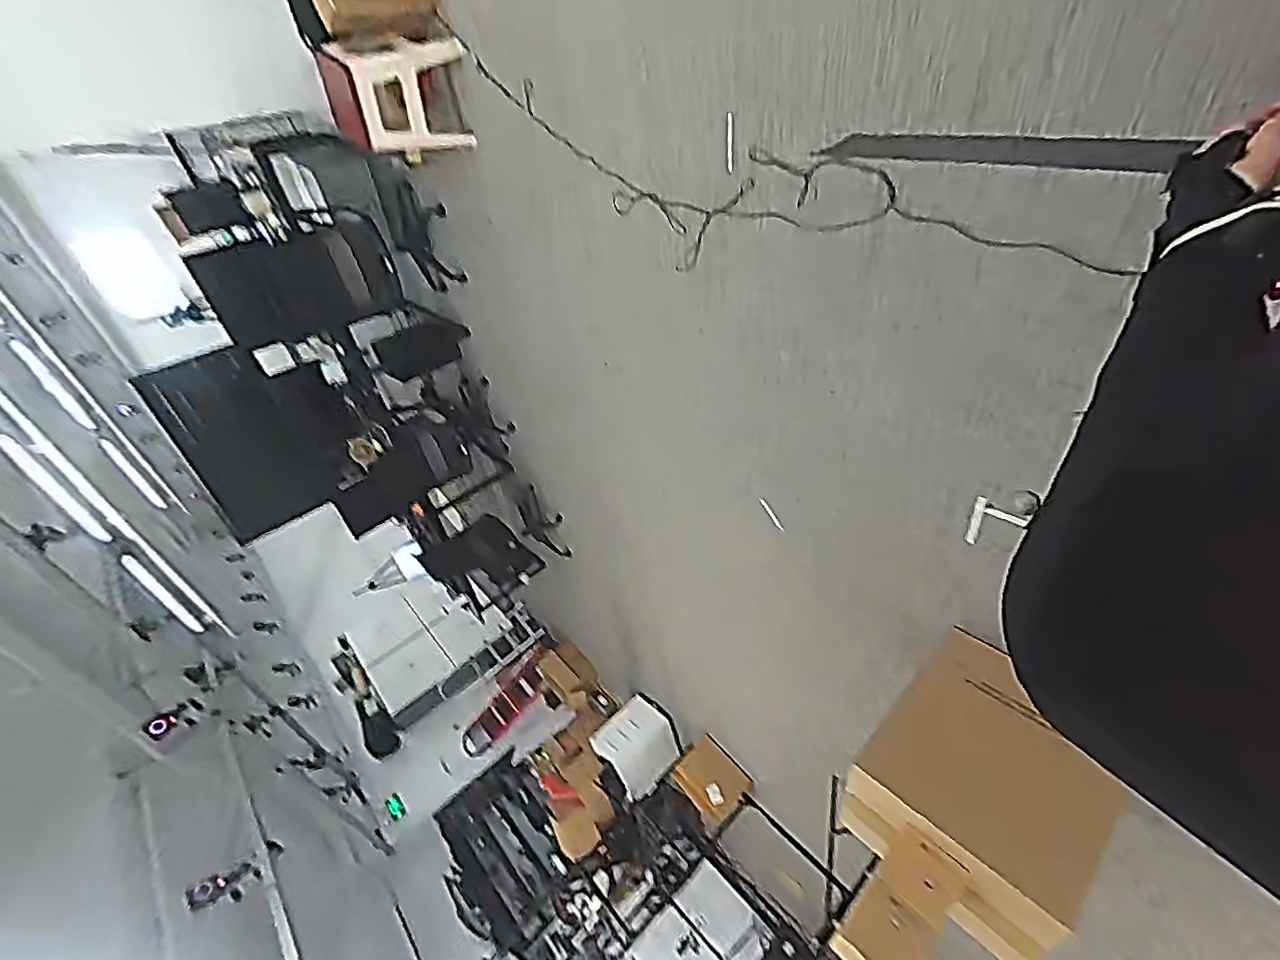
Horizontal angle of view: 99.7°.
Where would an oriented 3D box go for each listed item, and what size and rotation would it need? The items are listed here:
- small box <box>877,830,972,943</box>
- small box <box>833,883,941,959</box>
[{"bbox_3d":[0.716,1.044,1.382,0.168,0.176,0.179,30,143,38],"label":"small box"},{"bbox_3d":[0.596,1.131,1.309,0.168,0.176,0.179,31,143,36],"label":"small box"}]
